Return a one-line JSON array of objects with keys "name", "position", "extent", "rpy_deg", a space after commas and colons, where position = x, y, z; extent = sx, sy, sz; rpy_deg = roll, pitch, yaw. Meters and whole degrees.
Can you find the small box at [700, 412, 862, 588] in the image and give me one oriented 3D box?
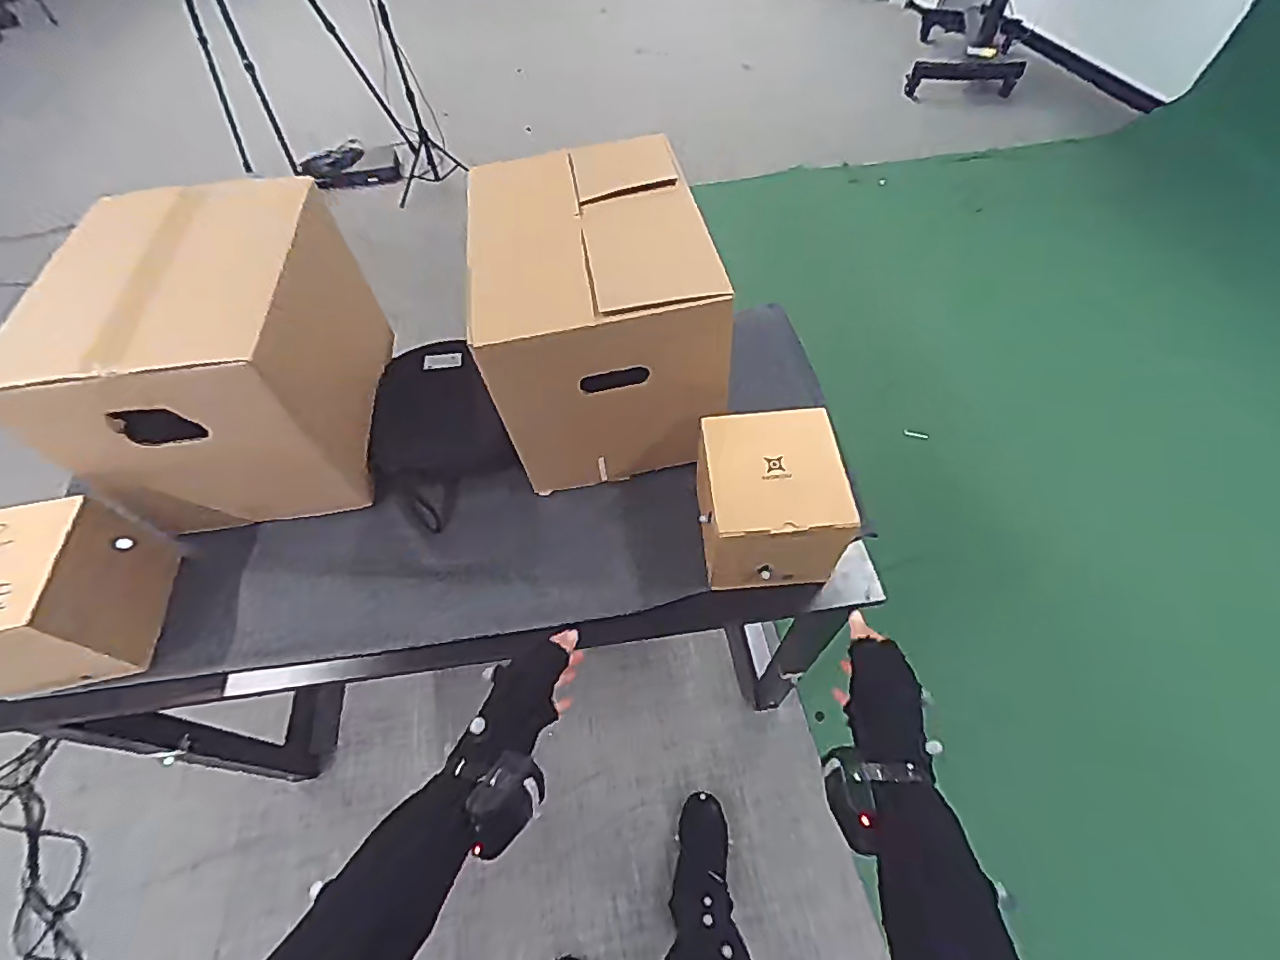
[{"name": "small box", "position": [0.173, 0.031, 0.730], "extent": [0.168, 0.176, 0.179], "rpy_deg": [-4, 58, 1]}]
